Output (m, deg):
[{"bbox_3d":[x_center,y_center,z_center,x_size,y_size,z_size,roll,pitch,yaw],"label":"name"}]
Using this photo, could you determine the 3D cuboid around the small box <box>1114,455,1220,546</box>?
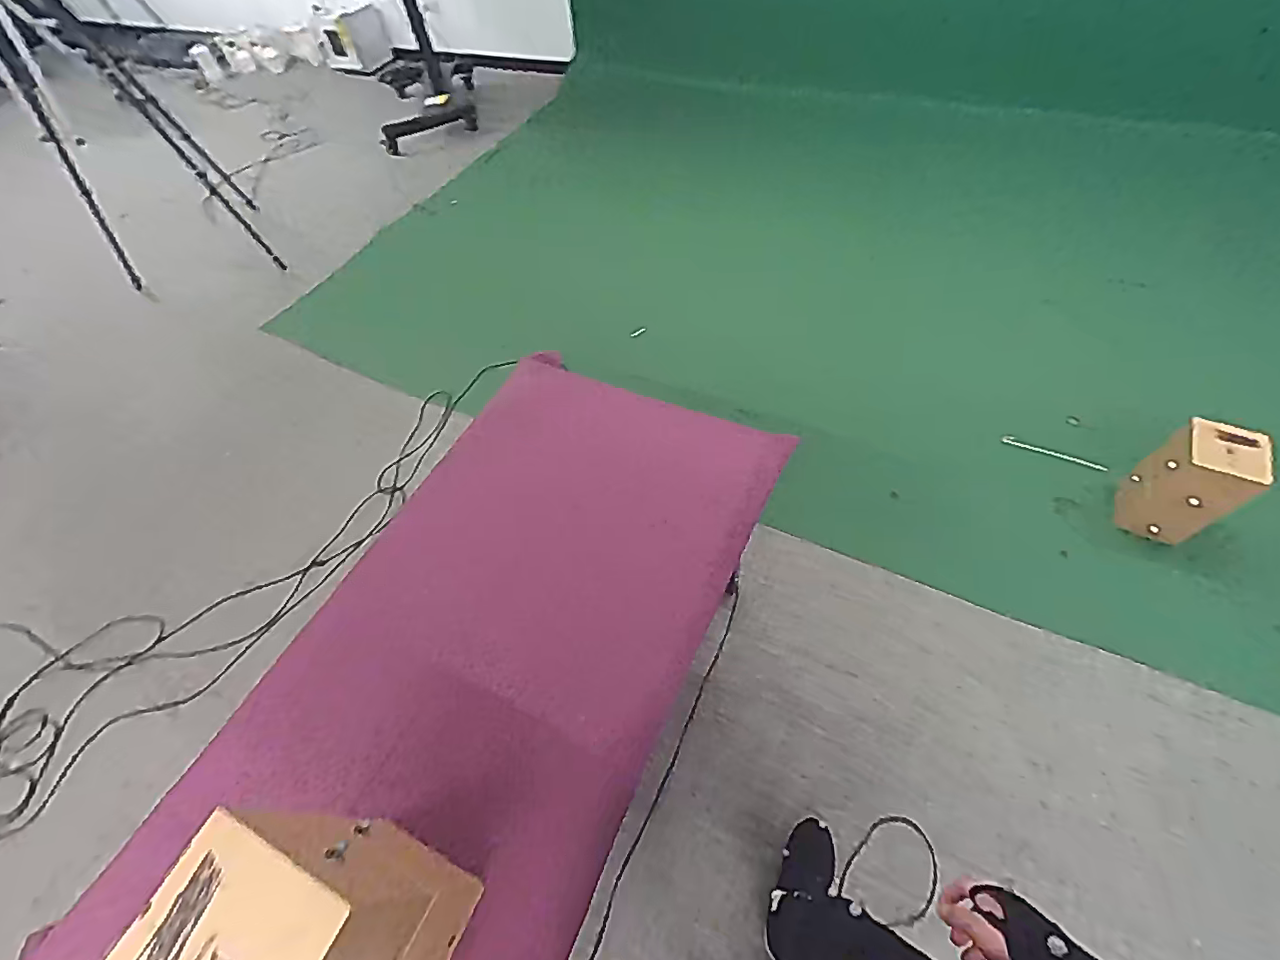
[{"bbox_3d":[1.559,0.064,1.606,0.168,0.176,0.179,22,61,21],"label":"small box"}]

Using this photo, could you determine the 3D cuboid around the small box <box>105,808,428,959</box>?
[{"bbox_3d":[-0.339,0.437,0.501,0.179,0.176,0.168,19,60,18],"label":"small box"}]

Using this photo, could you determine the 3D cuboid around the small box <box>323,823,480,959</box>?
[{"bbox_3d":[-0.321,0.531,0.634,0.179,0.176,0.168,18,60,19],"label":"small box"}]
